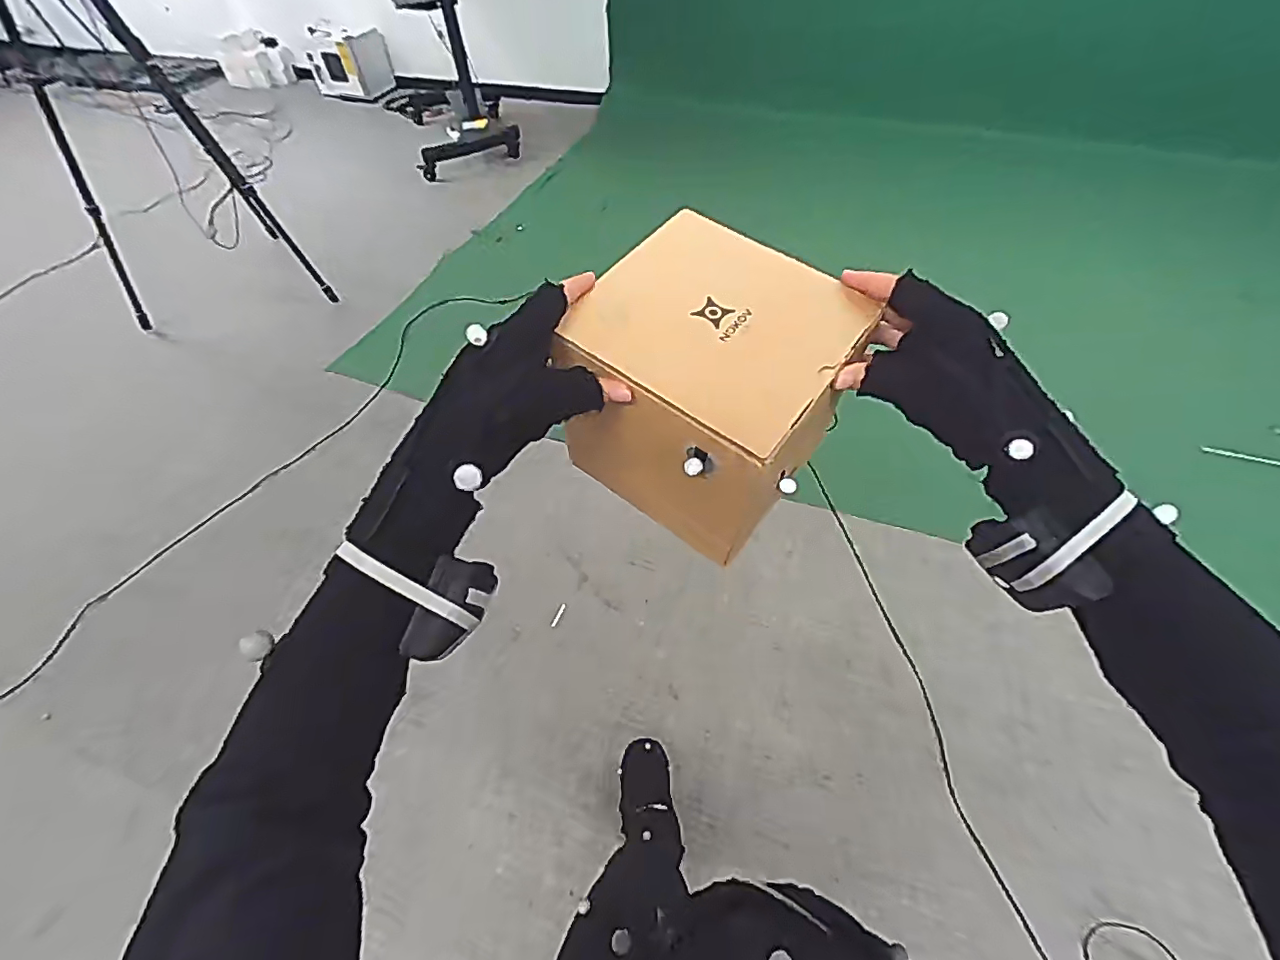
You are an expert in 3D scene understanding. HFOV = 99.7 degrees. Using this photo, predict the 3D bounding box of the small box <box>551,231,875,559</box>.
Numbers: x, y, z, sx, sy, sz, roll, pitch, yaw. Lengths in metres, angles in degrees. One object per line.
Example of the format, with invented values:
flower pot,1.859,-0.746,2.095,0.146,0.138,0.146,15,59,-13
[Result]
small box,0.050,-0.063,0.450,0.179,0.176,0.168,35,64,17
